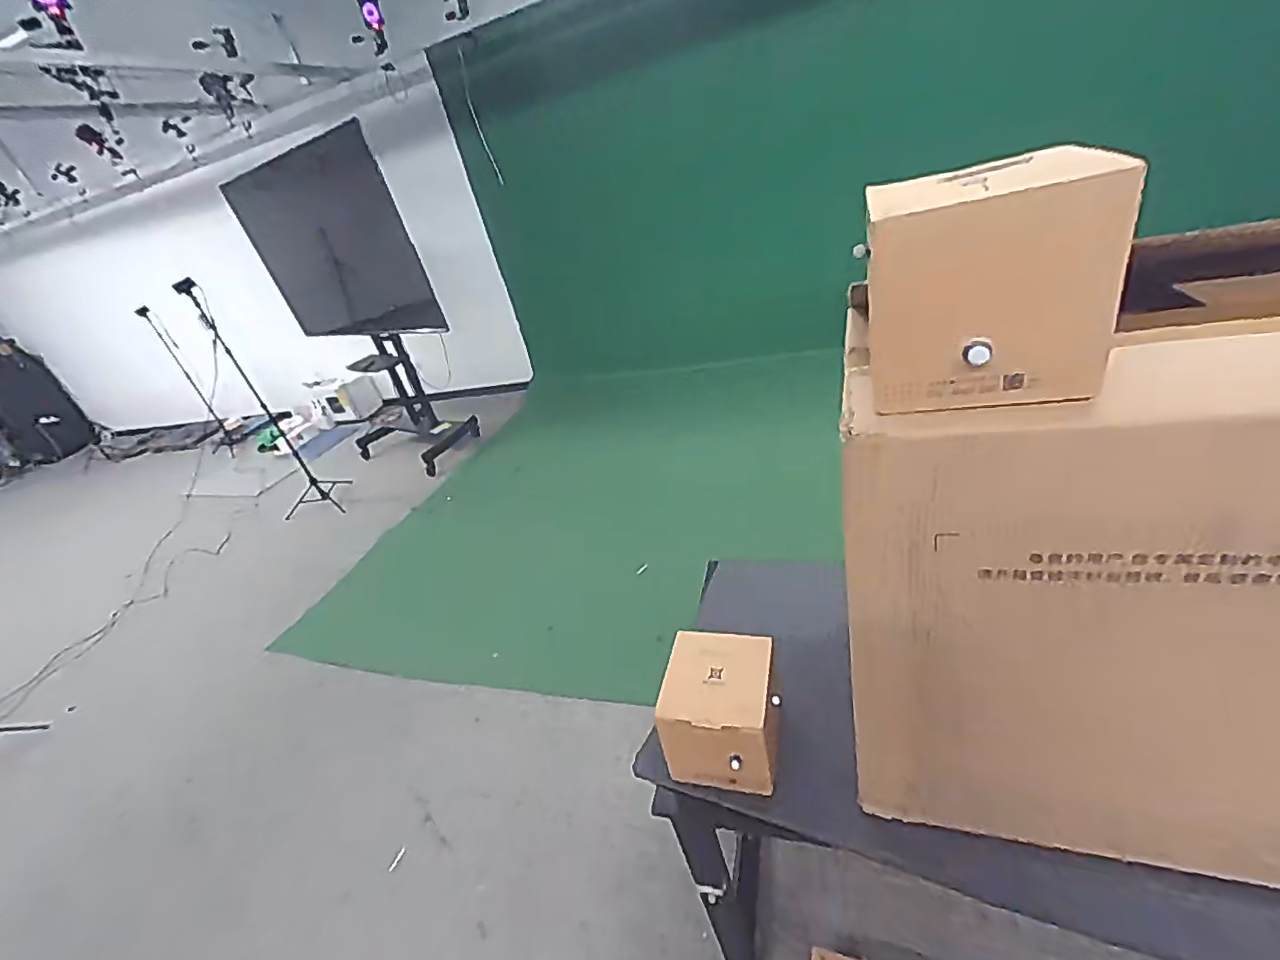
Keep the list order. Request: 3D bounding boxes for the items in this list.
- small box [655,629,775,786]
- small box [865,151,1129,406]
[{"bbox_3d":[0.135,0.376,0.904,0.168,0.176,0.179,-1,30,18],"label":"small box"},{"bbox_3d":[0.297,-0.182,0.496,0.168,0.176,0.179,-3,32,23],"label":"small box"}]
